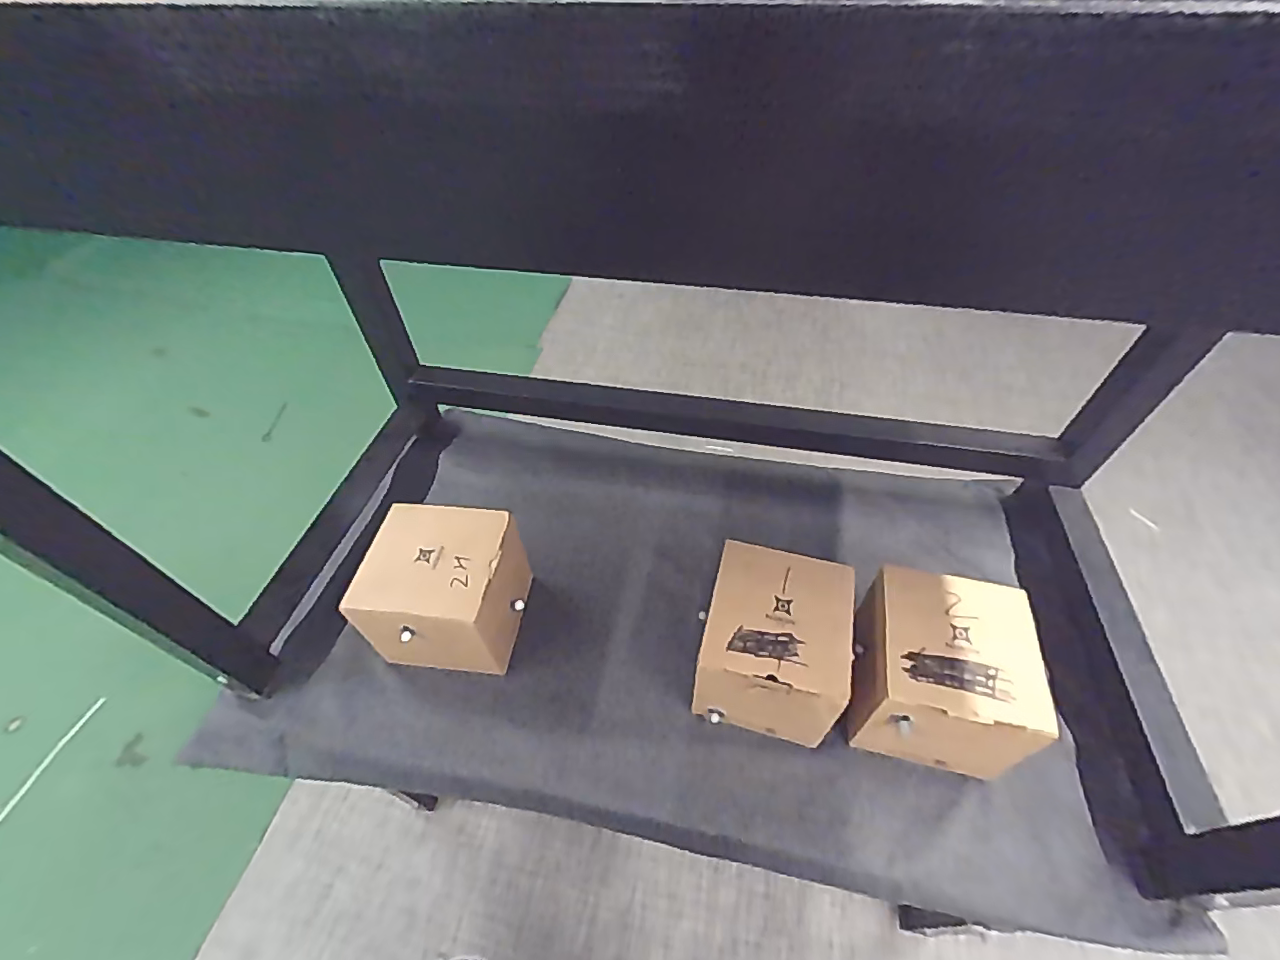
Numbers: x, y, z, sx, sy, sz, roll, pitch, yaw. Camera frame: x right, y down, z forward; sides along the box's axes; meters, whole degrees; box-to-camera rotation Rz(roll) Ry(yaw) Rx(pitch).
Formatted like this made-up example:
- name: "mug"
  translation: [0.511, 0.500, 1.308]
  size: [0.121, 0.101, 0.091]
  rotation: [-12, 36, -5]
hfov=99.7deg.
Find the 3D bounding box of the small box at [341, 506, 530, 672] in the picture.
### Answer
- name: "small box"
  translation: [-0.271, 0.156, 0.766]
  size: [0.179, 0.176, 0.168]
  rotation: [5, 50, 5]
